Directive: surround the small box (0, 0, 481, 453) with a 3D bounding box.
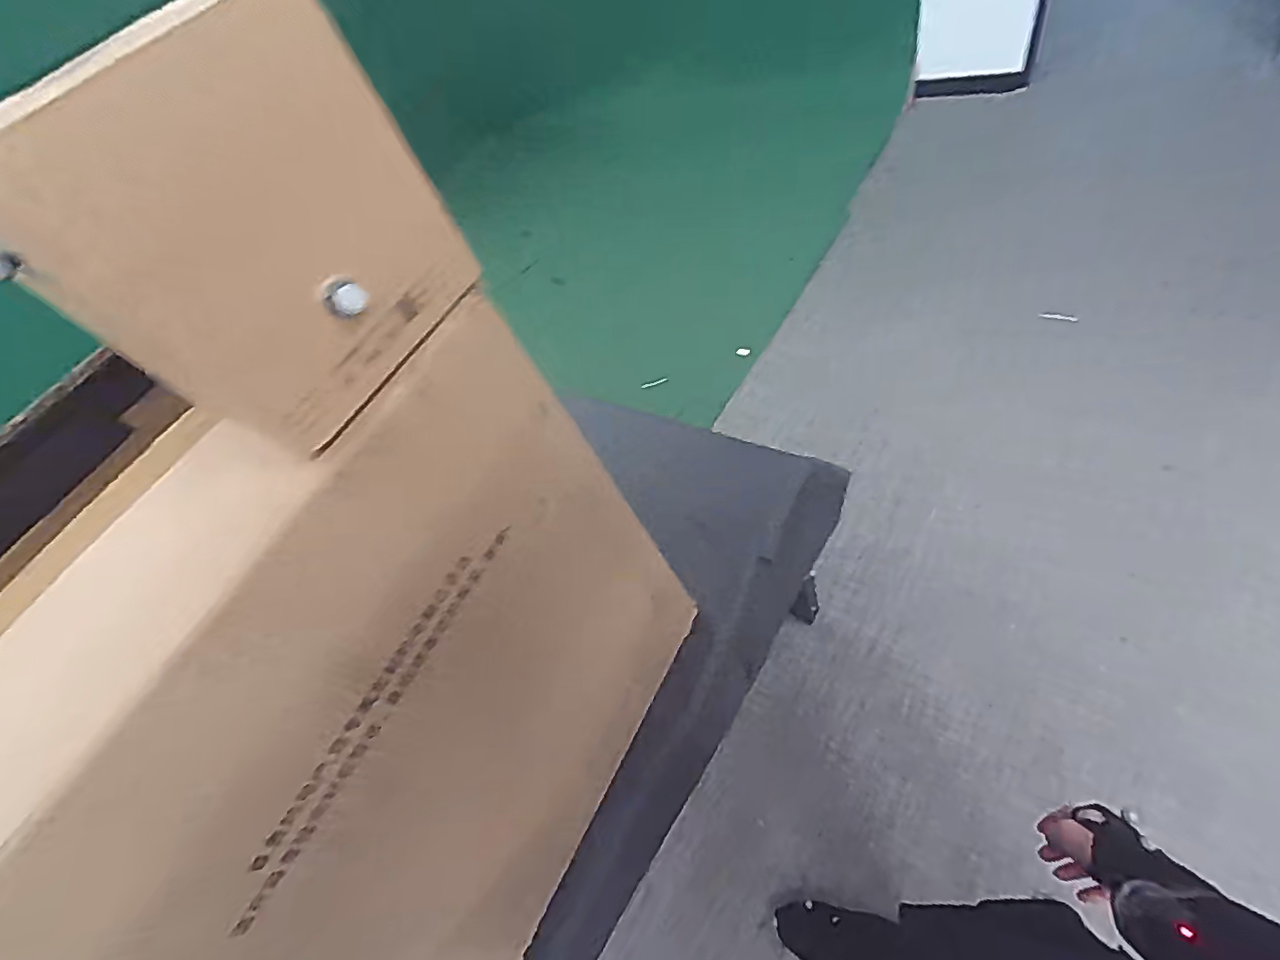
[{"bbox_3d":[-0.236,-0.139,0.322,0.179,0.176,0.168,19,65,30],"label":"small box"}]
